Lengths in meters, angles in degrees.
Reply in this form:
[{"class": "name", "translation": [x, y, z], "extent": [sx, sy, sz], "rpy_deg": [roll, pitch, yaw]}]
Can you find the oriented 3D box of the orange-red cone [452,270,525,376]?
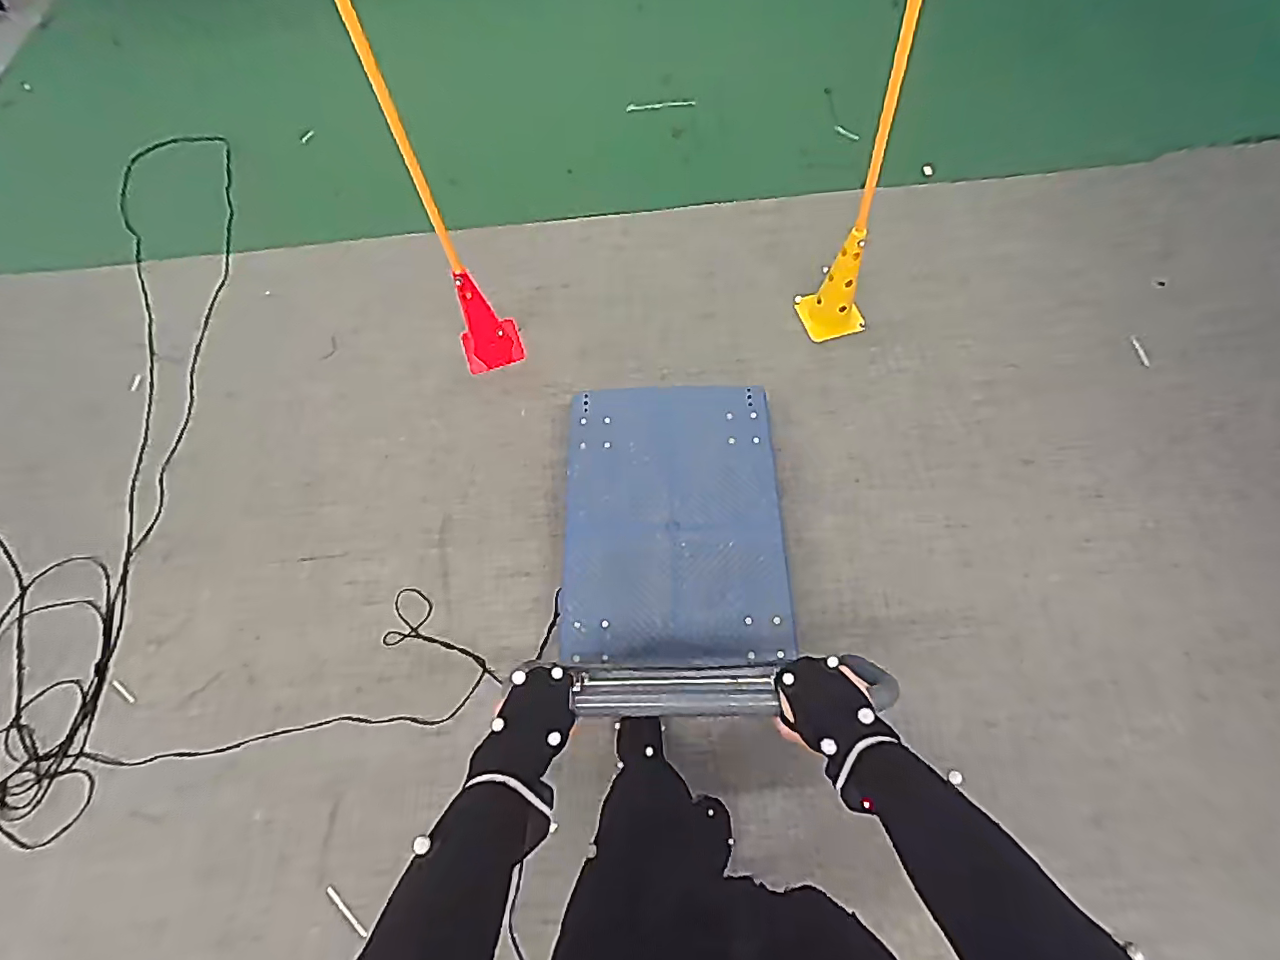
[{"class": "orange-red cone", "translation": [-0.528, -0.533, 1.753], "extent": [0.199, 0.360, 0.198], "rpy_deg": [-19, 65, -4]}]
